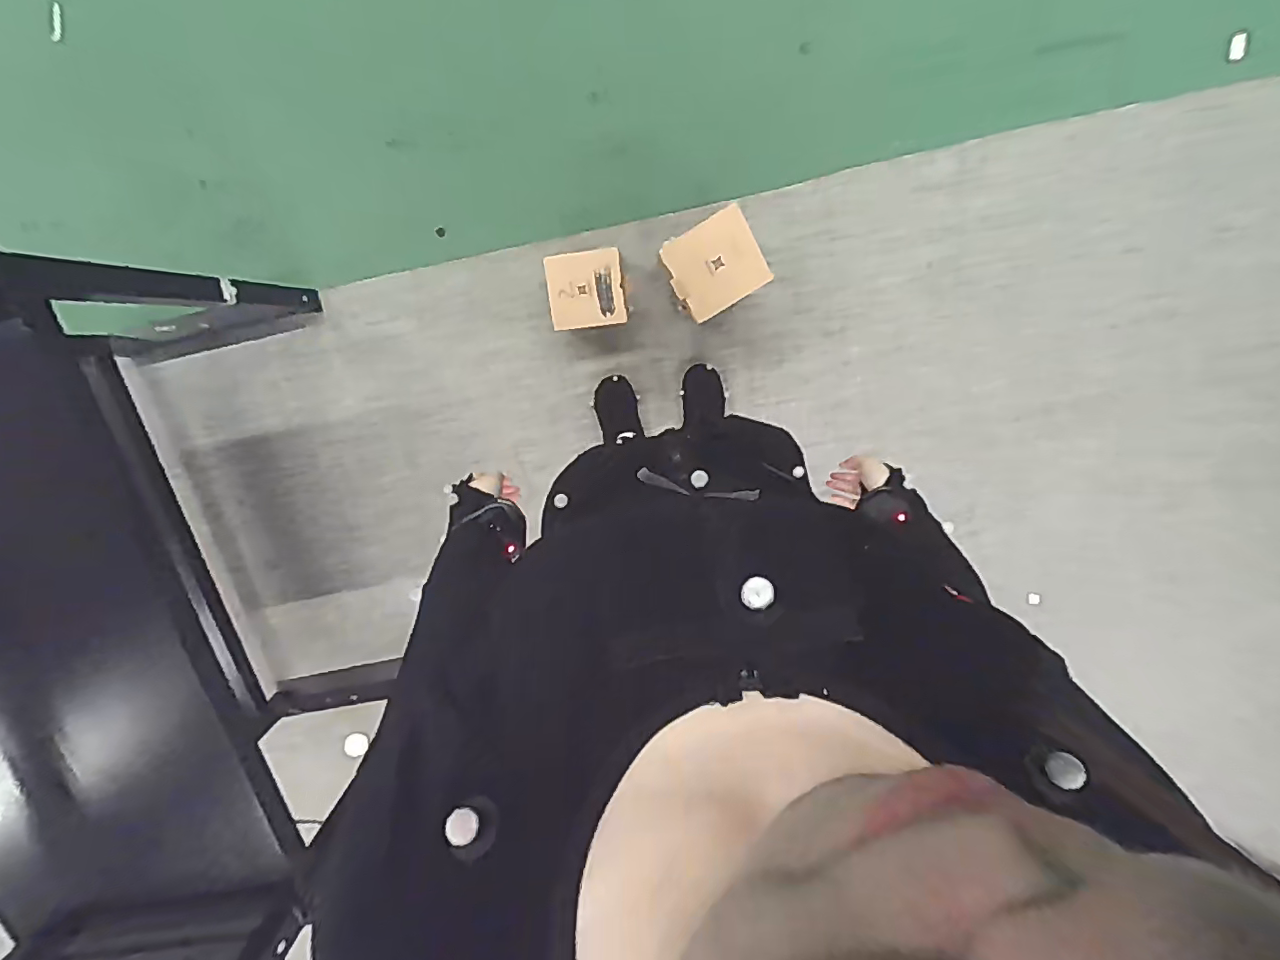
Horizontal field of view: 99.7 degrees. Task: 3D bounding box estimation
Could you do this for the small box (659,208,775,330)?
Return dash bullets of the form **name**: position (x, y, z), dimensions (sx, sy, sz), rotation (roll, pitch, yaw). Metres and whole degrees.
- **small box**: position (0.153, -0.428, 1.128), dimensions (0.179, 0.176, 0.168), rotation (-30, 104, 8)
